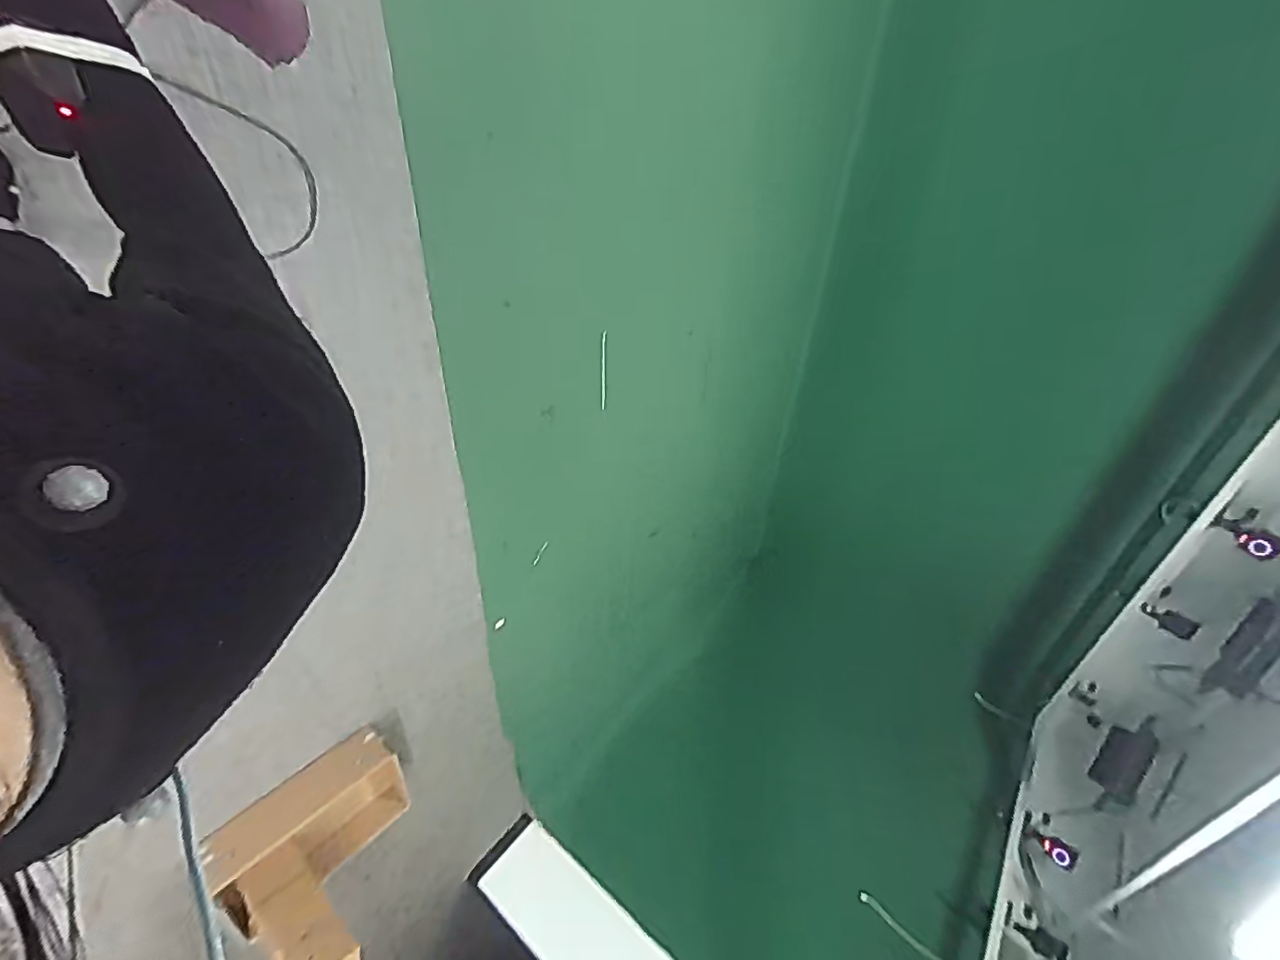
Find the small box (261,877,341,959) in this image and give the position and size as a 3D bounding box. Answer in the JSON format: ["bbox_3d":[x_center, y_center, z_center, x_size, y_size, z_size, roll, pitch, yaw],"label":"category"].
[{"bbox_3d":[-1.129,1.493,1.808,0.179,0.176,0.168,-20,128,-49],"label":"small box"}]

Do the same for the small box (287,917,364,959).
[{"bbox_3d":[-1.004,1.556,1.724,0.168,0.176,0.179,-16,125,-50],"label":"small box"}]
